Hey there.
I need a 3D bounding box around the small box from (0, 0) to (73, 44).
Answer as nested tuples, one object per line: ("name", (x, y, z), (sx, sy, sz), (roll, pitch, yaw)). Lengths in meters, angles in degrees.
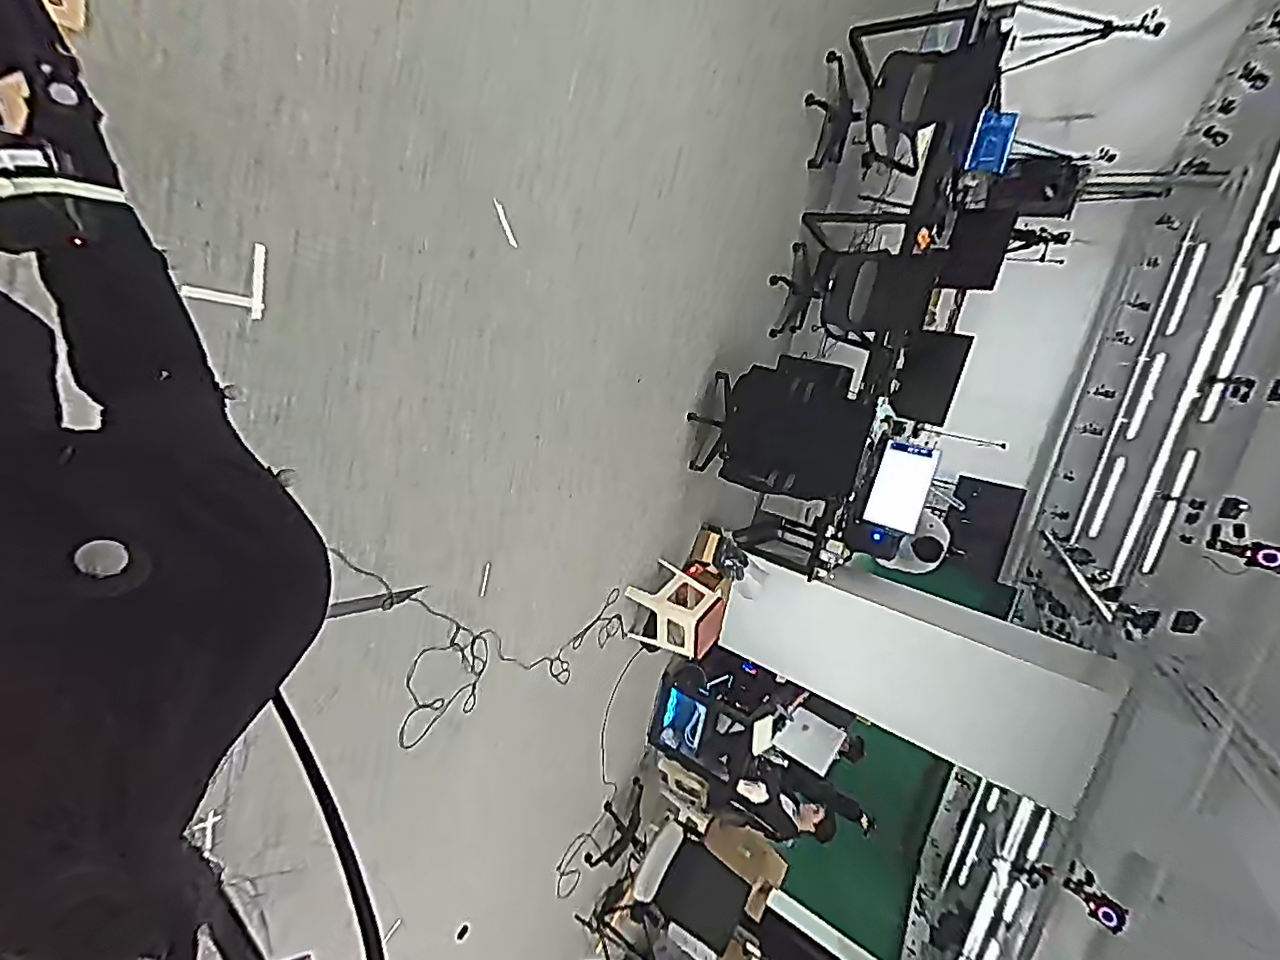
("small box", (-0.681, -0.566, 0.513), (0.168, 0.176, 0.179), (-8, 111, -58))
